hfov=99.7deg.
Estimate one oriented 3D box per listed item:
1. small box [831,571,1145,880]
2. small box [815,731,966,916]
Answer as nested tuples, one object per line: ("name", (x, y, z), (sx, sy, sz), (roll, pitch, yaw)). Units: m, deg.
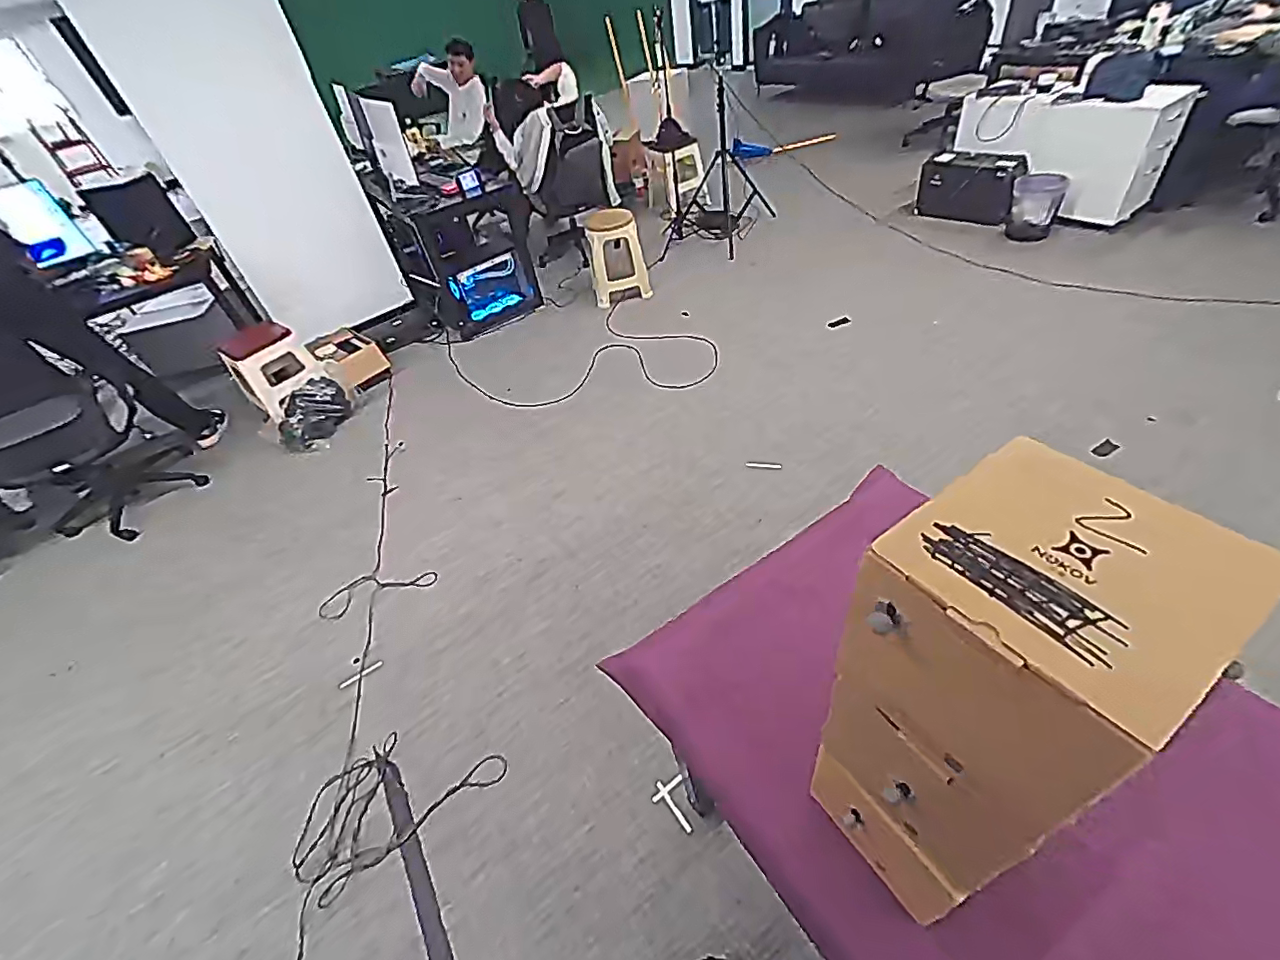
("small box", (0.299, 0.228, 0.507), (0.179, 0.176, 0.168), (-31, 47, -19))
("small box", (0.319, 0.349, 0.616), (0.179, 0.176, 0.168), (-29, 46, -18))
